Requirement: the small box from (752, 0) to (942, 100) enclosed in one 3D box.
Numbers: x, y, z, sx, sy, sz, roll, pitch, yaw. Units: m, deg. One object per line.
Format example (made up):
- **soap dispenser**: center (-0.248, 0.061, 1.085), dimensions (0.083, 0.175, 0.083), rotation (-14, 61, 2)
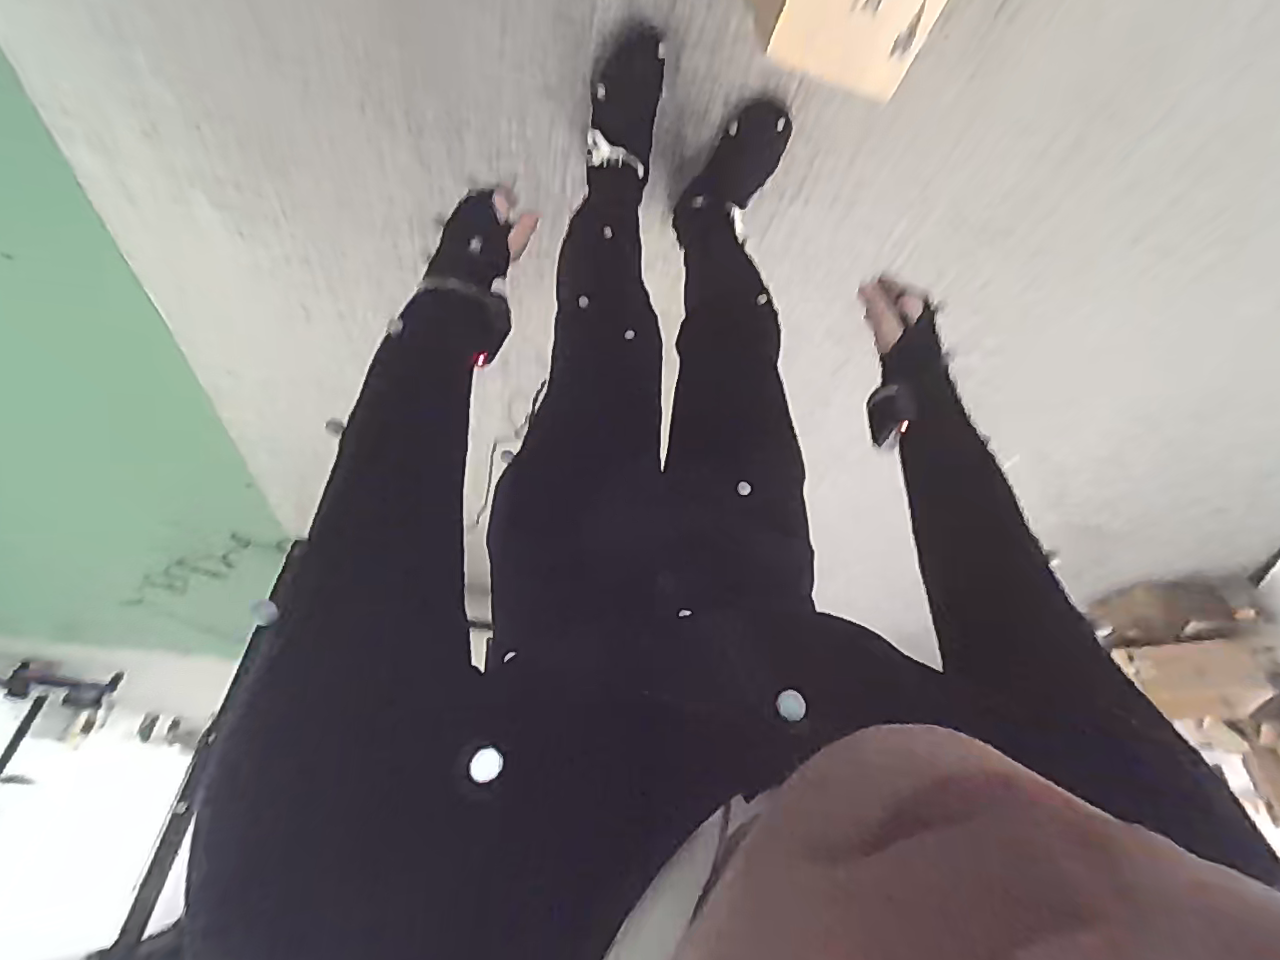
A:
- **small box**: center (0.243, -0.591, 0.625), dimensions (0.179, 0.176, 0.168), rotation (13, 144, -13)
